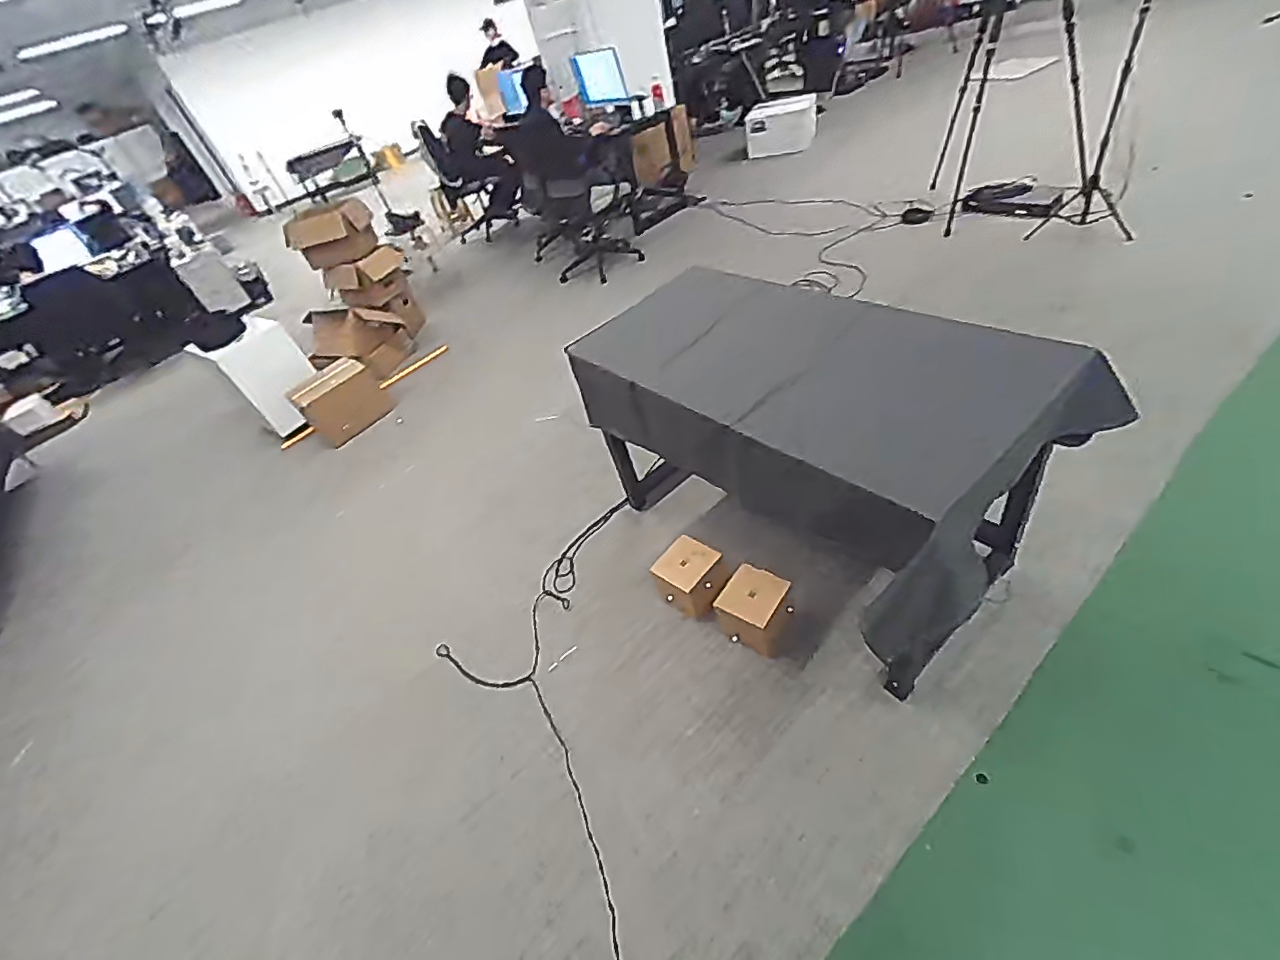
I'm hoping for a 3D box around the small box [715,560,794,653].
[{"bbox_3d":[0.345,0.378,1.613,0.168,0.176,0.179,21,54,36],"label":"small box"}]
